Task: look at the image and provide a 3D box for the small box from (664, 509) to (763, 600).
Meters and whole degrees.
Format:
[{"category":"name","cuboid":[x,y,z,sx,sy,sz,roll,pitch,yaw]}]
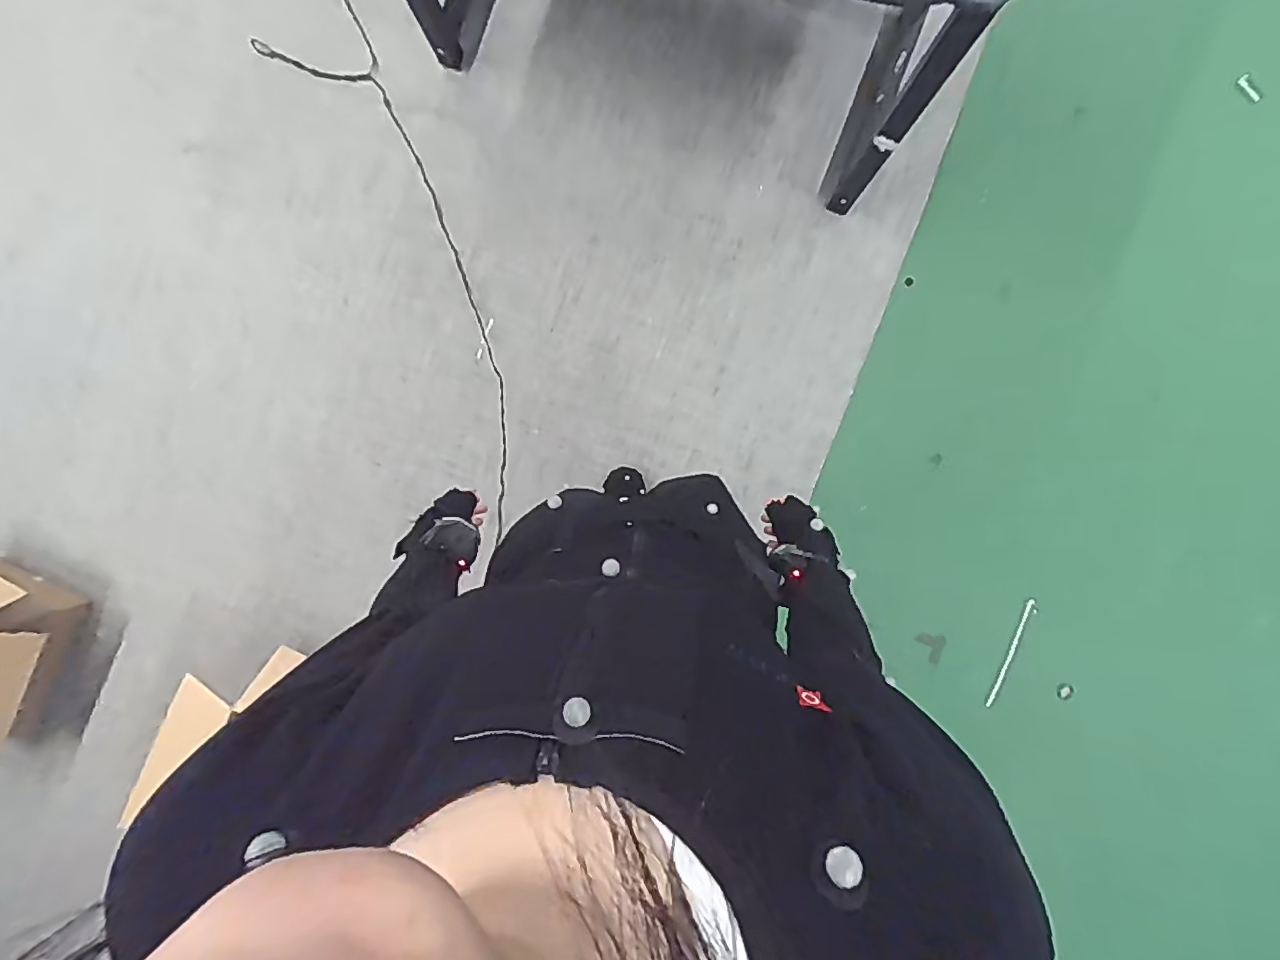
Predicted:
[{"category":"small box","cuboid":[0.181,0.194,1.394,0.179,0.168,0.176,2,126,-20]}]
